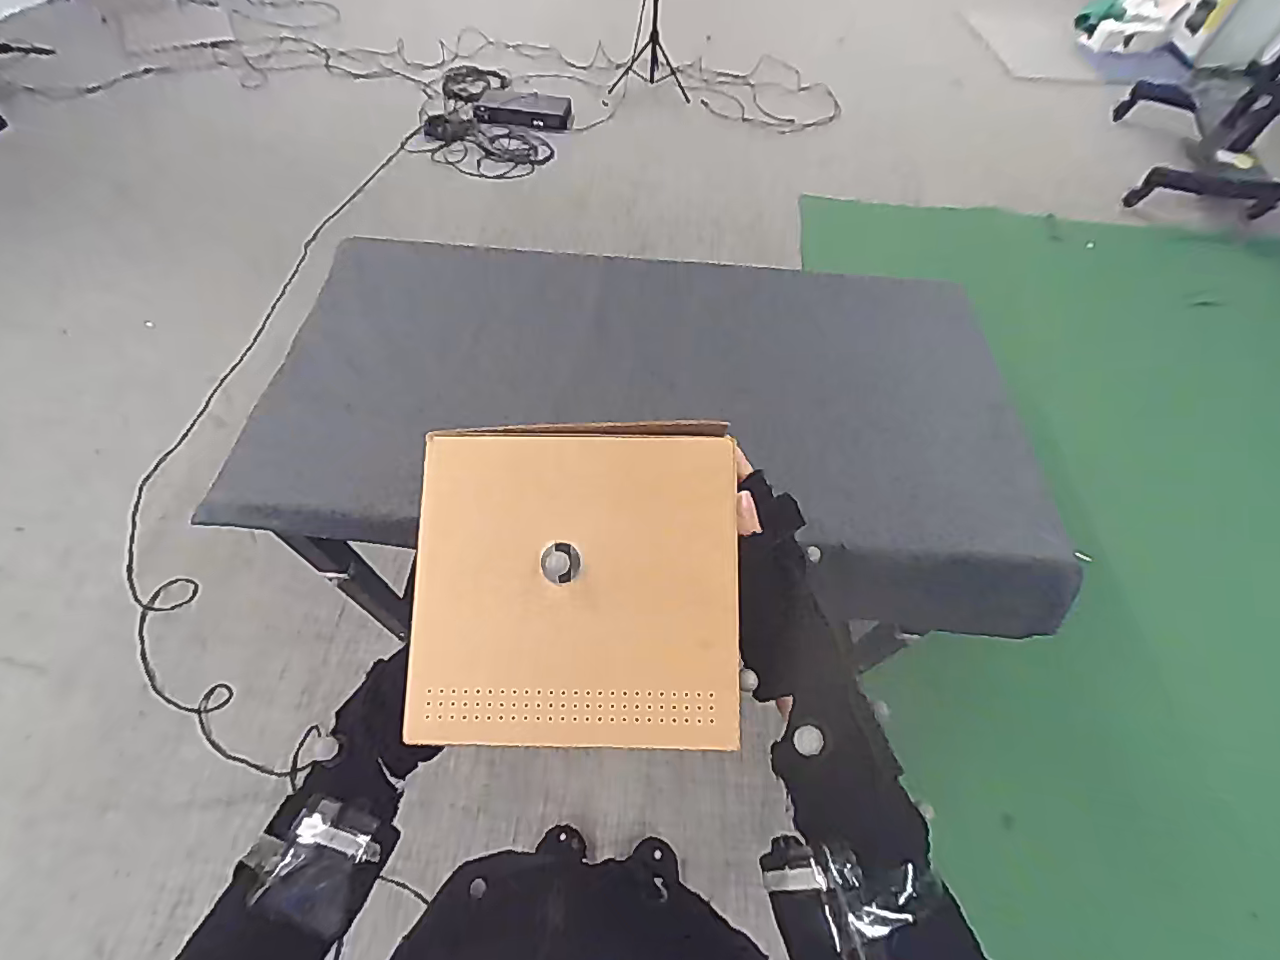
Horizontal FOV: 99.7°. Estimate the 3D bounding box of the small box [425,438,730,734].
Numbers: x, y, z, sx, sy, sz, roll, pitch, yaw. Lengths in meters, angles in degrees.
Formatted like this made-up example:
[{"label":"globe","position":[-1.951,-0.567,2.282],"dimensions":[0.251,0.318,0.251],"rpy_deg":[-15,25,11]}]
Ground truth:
[{"label":"small box","position":[-0.033,0.073,0.387],"dimensions":[0.179,0.168,0.176],"rpy_deg":[1,79,2]}]
